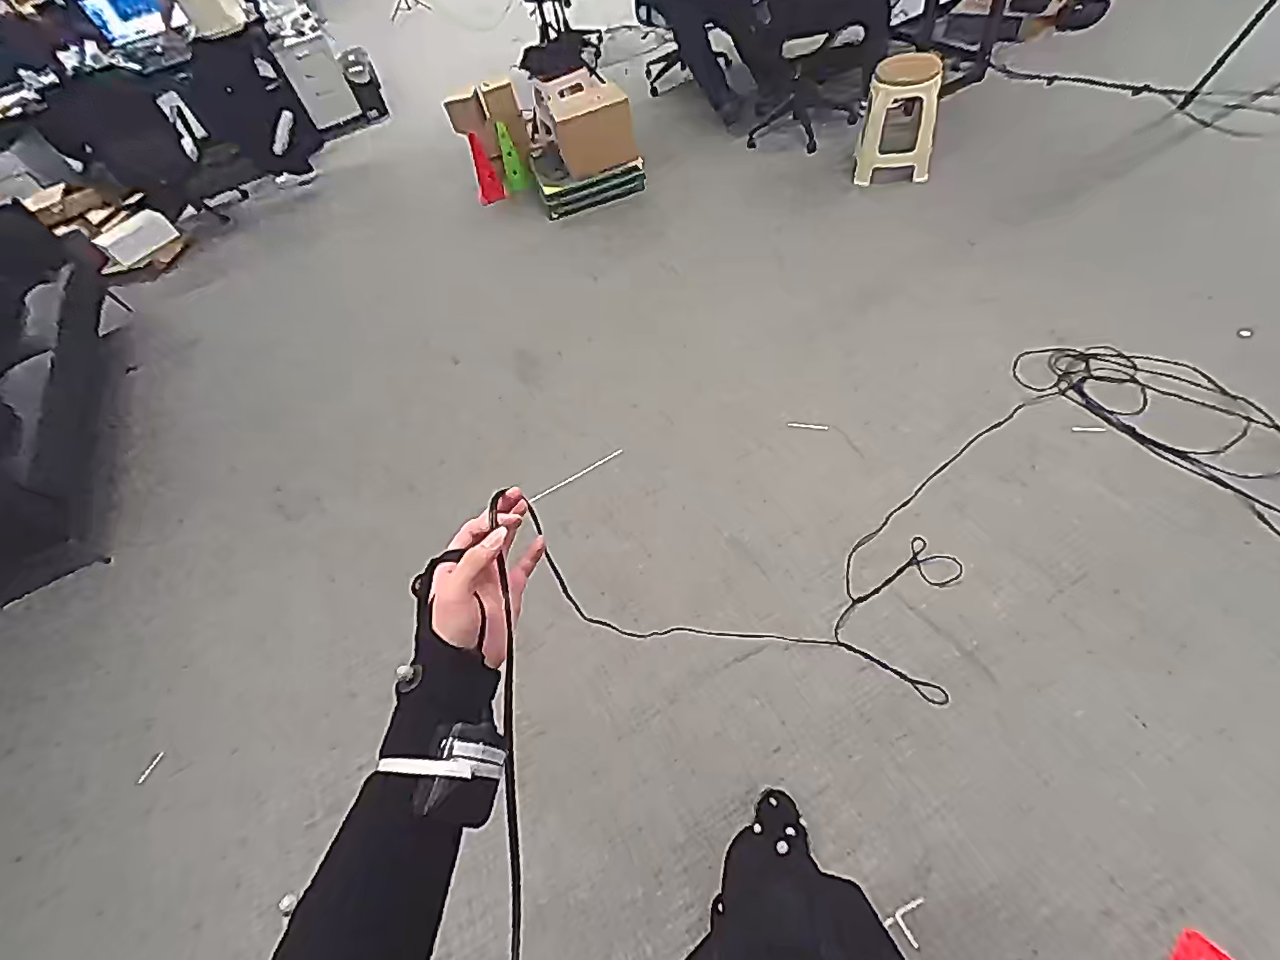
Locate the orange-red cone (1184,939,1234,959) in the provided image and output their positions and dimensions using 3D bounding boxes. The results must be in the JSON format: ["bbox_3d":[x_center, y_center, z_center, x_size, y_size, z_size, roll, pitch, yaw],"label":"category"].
[{"bbox_3d":[1.083,0.915,0.863,0.199,0.360,0.198,-41,58,-18],"label":"orange-red cone"}]
